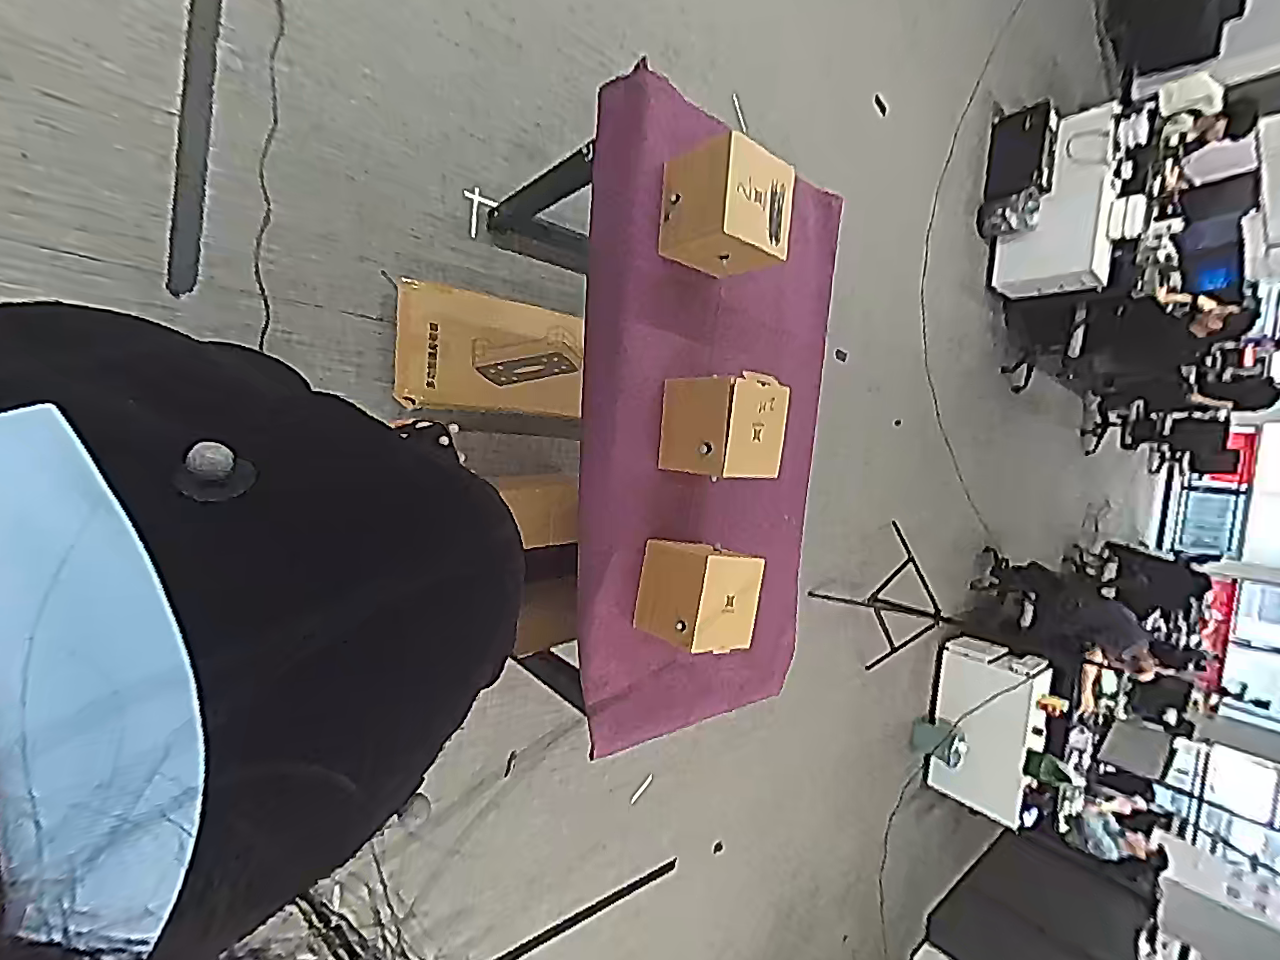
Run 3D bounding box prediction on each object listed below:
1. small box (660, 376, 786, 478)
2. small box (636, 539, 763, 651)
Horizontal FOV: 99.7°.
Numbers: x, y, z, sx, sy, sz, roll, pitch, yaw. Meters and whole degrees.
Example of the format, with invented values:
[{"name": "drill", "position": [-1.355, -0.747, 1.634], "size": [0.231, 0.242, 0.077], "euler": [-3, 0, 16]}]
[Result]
[{"name": "small box", "position": [0.155, -0.100, 1.041], "size": [0.168, 0.176, 0.179], "euler": [0, 96, -42]}, {"name": "small box", "position": [0.111, 0.216, 1.050], "size": [0.168, 0.176, 0.179], "euler": [10, 90, -40]}]
